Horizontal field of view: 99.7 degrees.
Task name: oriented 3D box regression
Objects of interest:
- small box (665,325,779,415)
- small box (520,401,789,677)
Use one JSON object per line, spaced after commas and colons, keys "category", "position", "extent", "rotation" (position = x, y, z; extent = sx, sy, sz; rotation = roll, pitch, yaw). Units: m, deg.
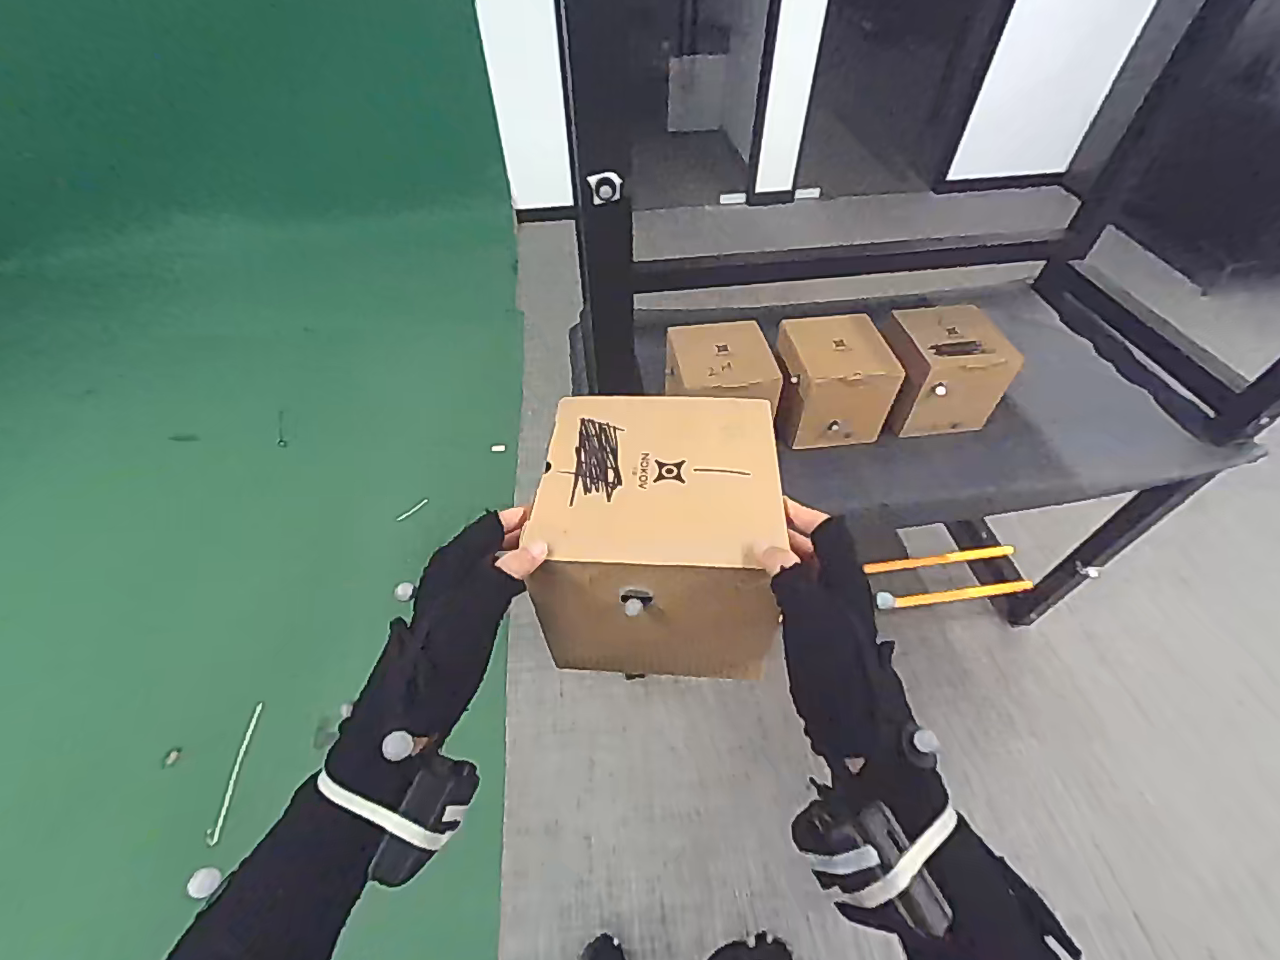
{"category": "small box", "position": [0.139, -0.162, 0.997], "extent": [0.168, 0.176, 0.179], "rotation": [-7, 50, -4]}
{"category": "small box", "position": [0.017, 0.051, 0.454], "extent": [0.179, 0.176, 0.168], "rotation": [2, 47, 4]}
